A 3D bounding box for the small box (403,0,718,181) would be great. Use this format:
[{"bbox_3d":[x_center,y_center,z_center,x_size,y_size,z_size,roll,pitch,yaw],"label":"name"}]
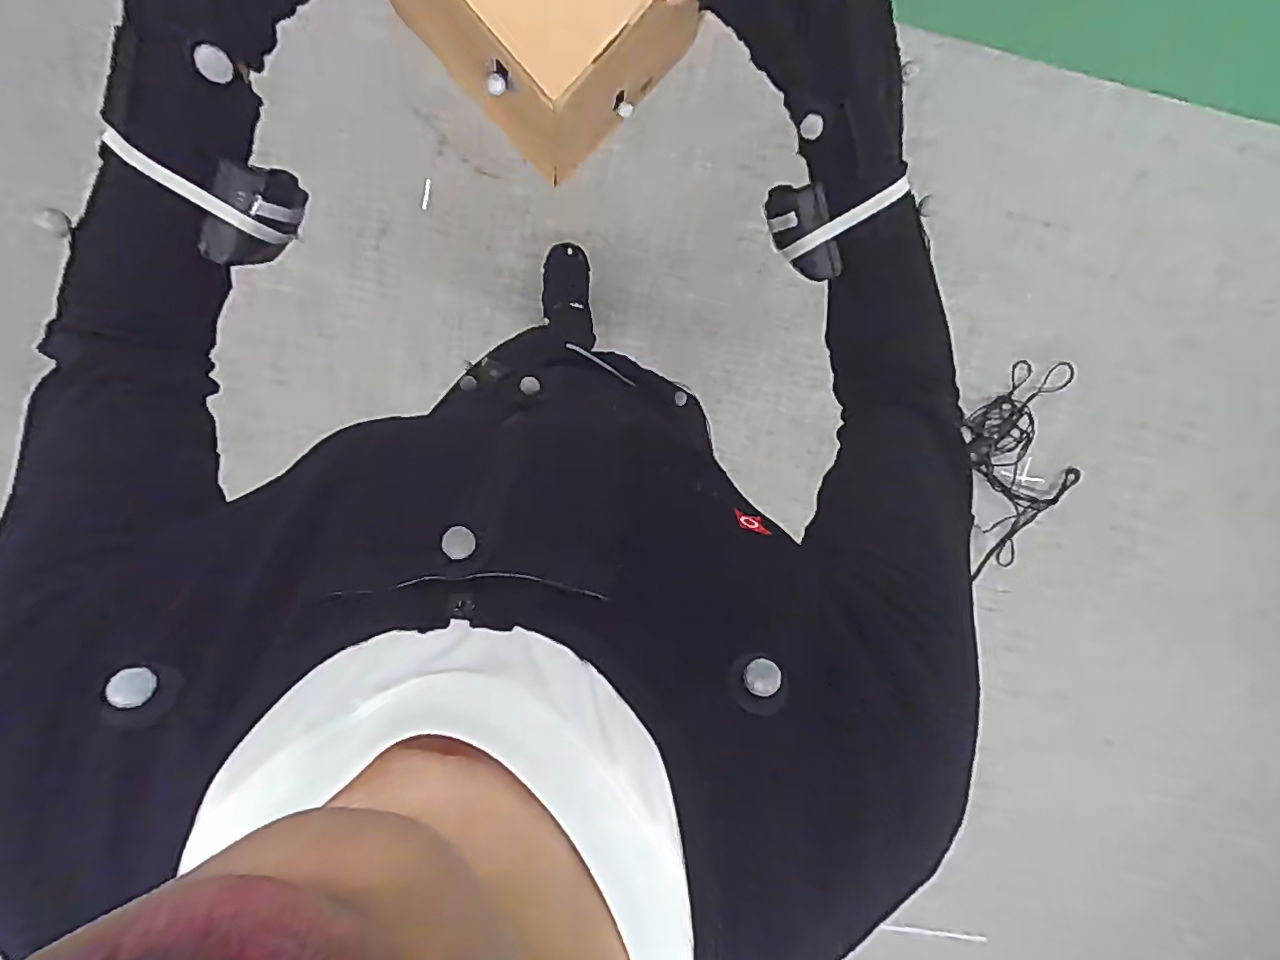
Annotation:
[{"bbox_3d":[-0.058,-0.346,0.366,0.168,0.176,0.179,-45,106,3],"label":"small box"}]
